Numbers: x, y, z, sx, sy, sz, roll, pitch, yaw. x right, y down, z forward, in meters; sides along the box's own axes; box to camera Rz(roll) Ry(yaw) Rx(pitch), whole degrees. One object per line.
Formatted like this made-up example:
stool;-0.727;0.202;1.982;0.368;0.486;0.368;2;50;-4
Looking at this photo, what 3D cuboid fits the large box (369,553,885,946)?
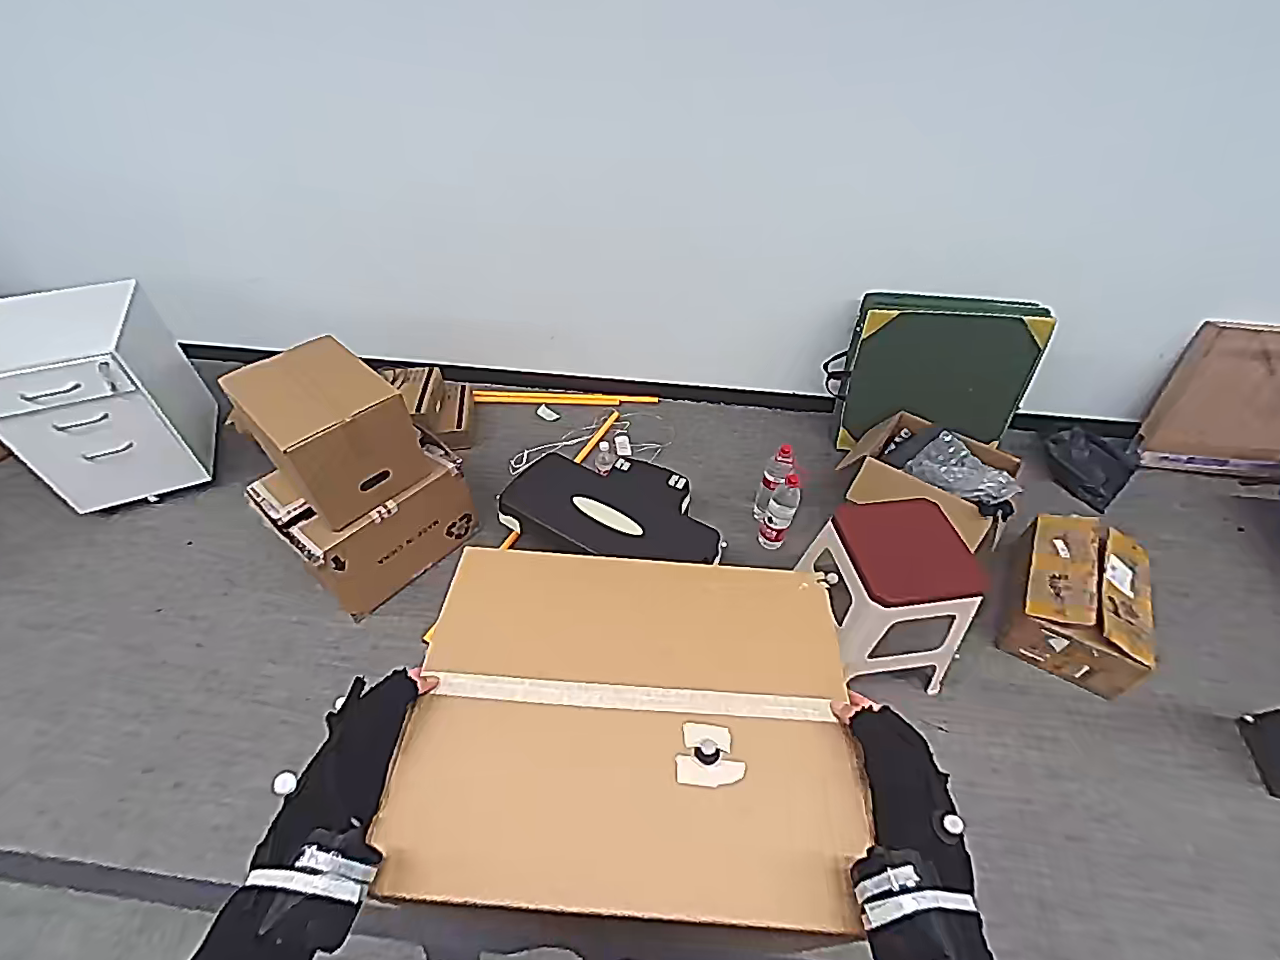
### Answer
large box;-0.011;0.309;0.617;0.408;0.320;0.320;5;47;0
